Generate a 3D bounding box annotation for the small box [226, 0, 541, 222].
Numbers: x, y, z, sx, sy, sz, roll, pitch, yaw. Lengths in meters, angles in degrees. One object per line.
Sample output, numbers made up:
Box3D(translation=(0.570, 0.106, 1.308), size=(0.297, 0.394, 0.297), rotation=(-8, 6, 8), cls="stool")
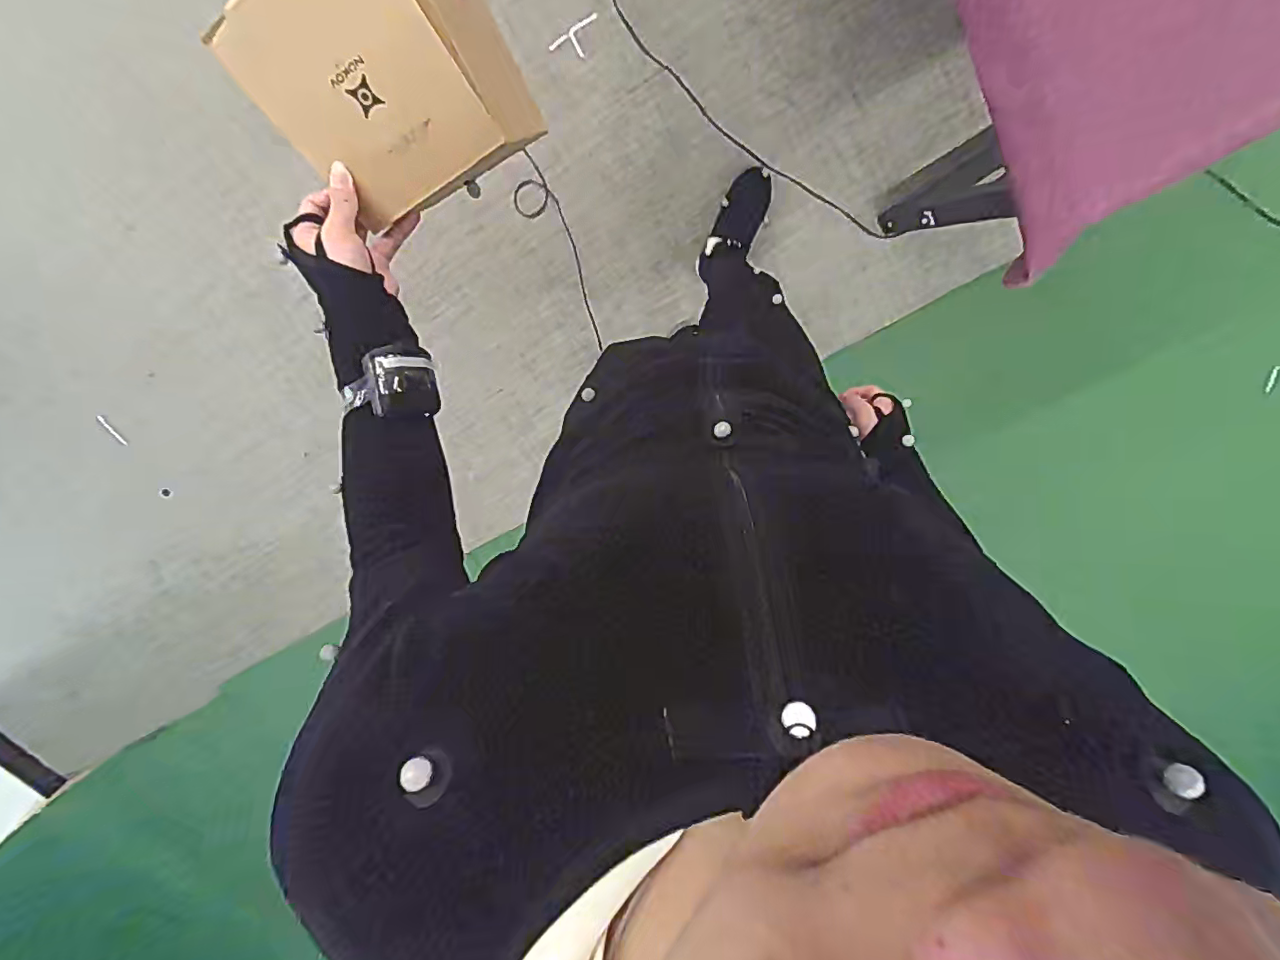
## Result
Box3D(translation=(-0.221, -0.383, 0.517), size=(0.168, 0.176, 0.179), rotation=(-19, 122, 21), cls="small box")
